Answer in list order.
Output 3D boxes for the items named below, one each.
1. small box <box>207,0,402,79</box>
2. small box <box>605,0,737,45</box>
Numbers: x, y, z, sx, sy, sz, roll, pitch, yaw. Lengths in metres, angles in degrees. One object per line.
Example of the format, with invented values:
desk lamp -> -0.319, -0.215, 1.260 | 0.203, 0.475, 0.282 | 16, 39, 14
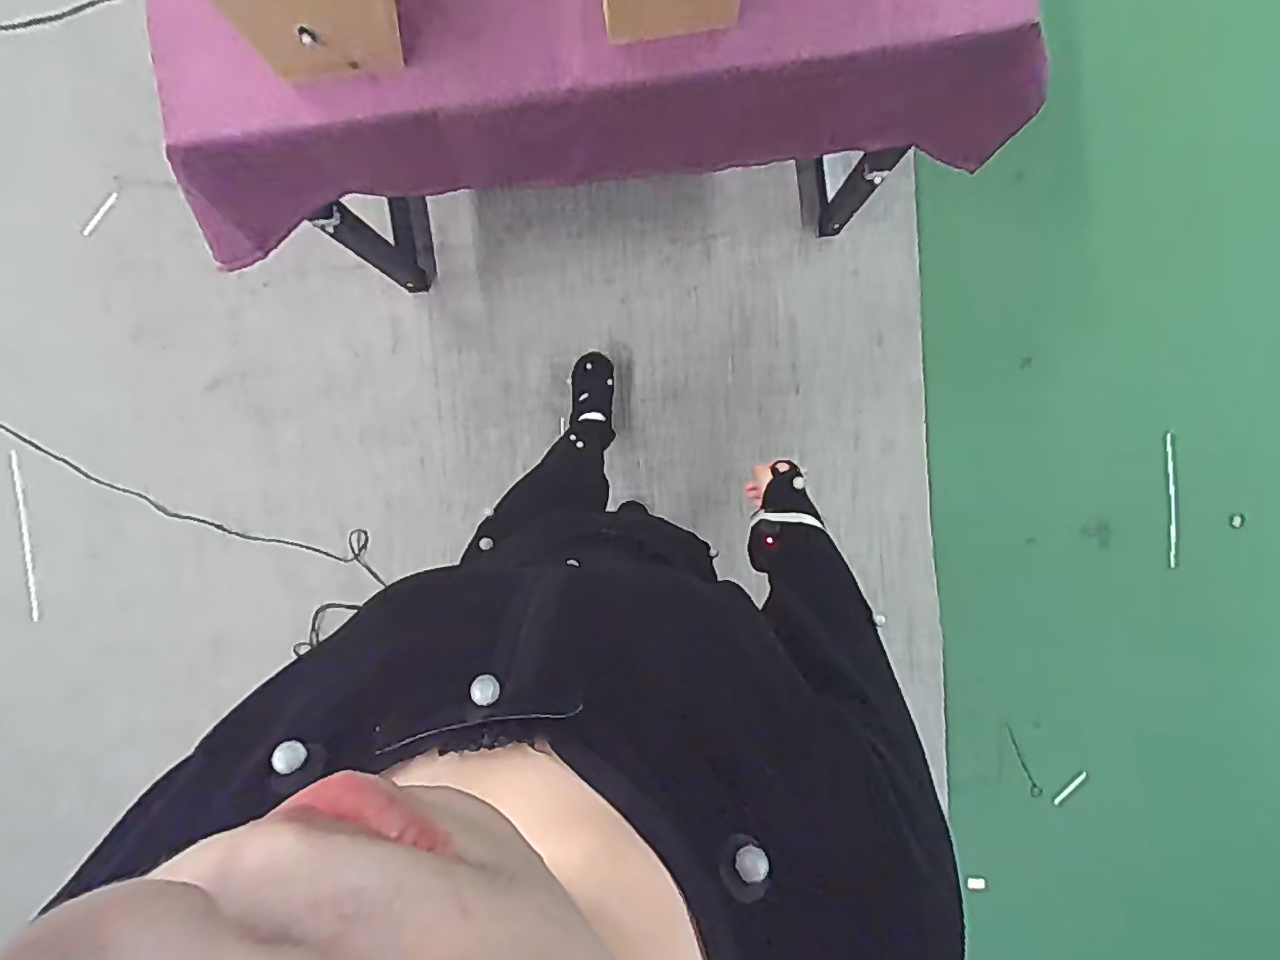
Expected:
small box -> -0.412, -0.631, 0.661 | 0.168, 0.176, 0.179 | -7, 91, 0
small box -> 0.033, -0.676, 0.655 | 0.179, 0.176, 0.168 | -8, 92, 2
